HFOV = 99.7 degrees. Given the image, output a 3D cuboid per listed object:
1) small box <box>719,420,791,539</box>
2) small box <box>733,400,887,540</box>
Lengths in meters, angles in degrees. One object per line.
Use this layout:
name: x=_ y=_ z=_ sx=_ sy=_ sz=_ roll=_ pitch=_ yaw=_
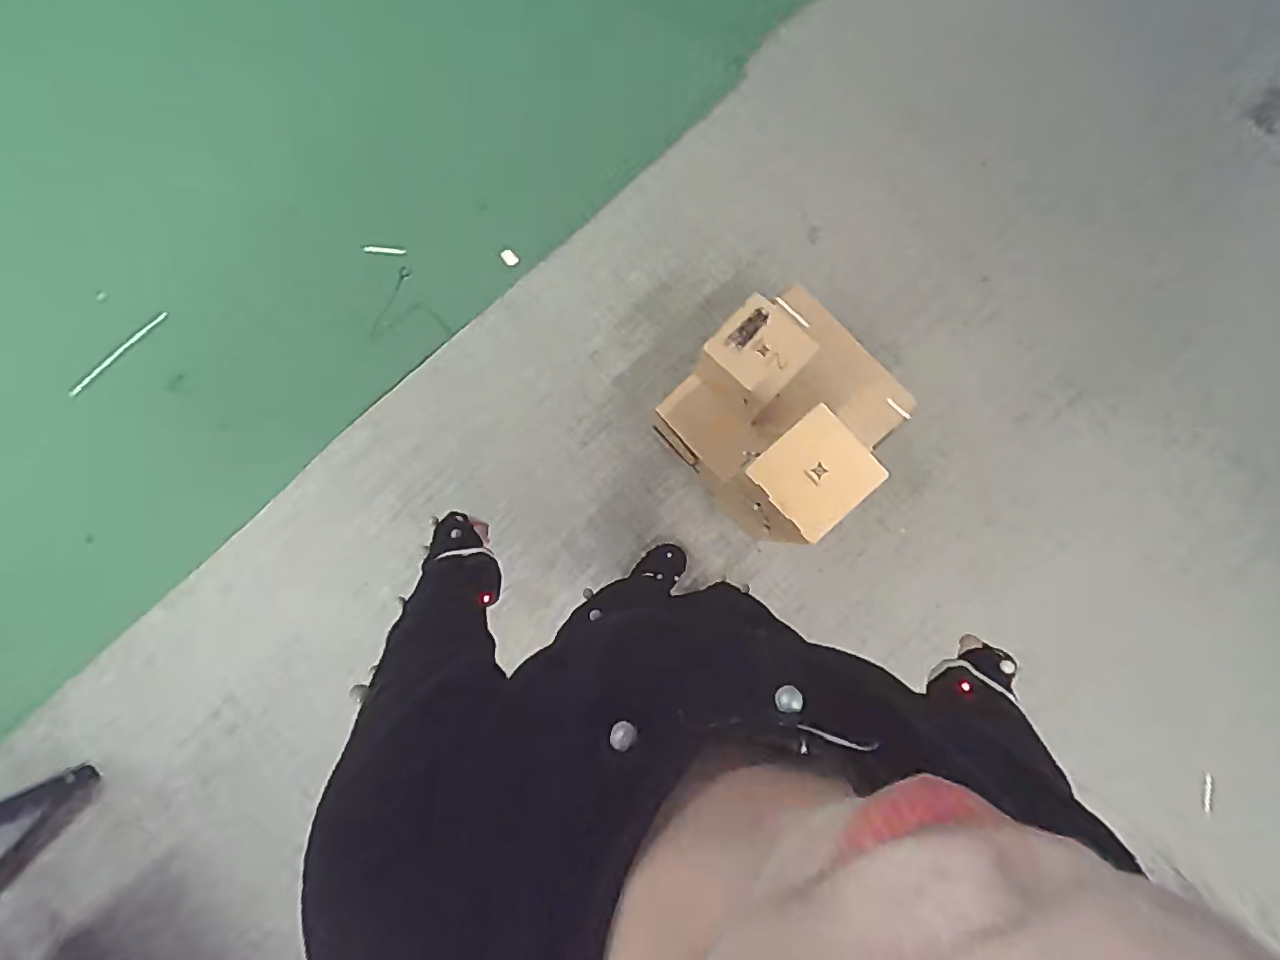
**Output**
small box: x=0.287 y=0.002 z=1.123 sx=0.168 sy=0.176 sz=0.179 roll=-41 pitch=87 yaw=-3
small box: x=0.287 y=-0.013 z=0.961 sx=0.179 sy=0.176 sz=0.168 roll=-41 pitch=87 yaw=-2
